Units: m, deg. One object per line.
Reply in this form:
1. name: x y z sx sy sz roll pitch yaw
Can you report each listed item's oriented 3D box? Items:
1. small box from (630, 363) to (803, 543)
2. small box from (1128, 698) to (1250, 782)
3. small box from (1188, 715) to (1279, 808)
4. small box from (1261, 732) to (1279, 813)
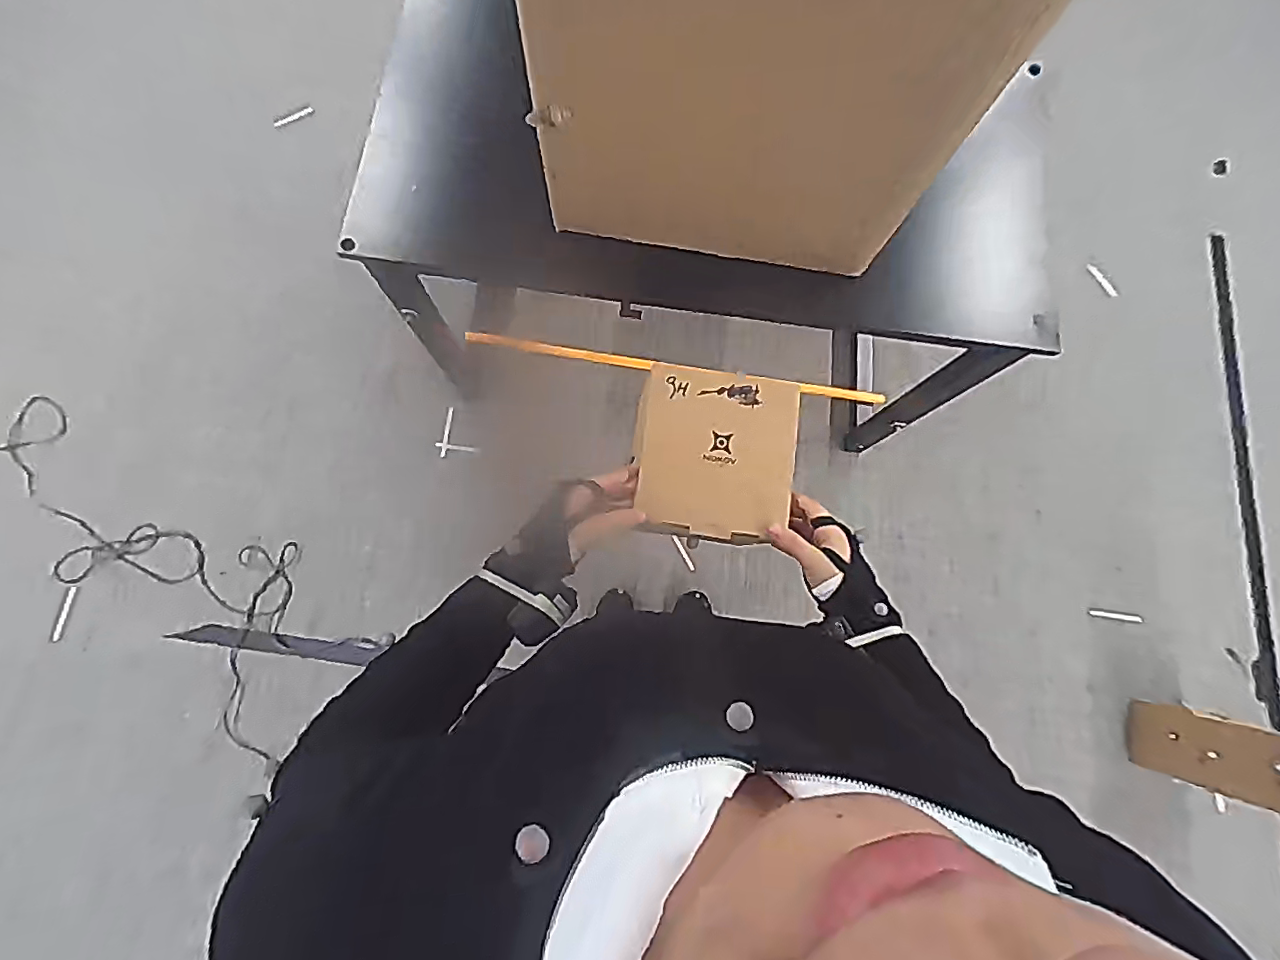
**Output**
1. small box: 0.080 -0.021 0.651 0.168 0.176 0.179 7 83 -4
2. small box: 1.434 0.687 1.419 0.168 0.176 0.179 12 79 0
3. small box: 1.446 0.662 1.257 0.179 0.176 0.168 11 78 0
4. small box: 1.440 0.628 1.097 0.179 0.176 0.168 11 77 0
